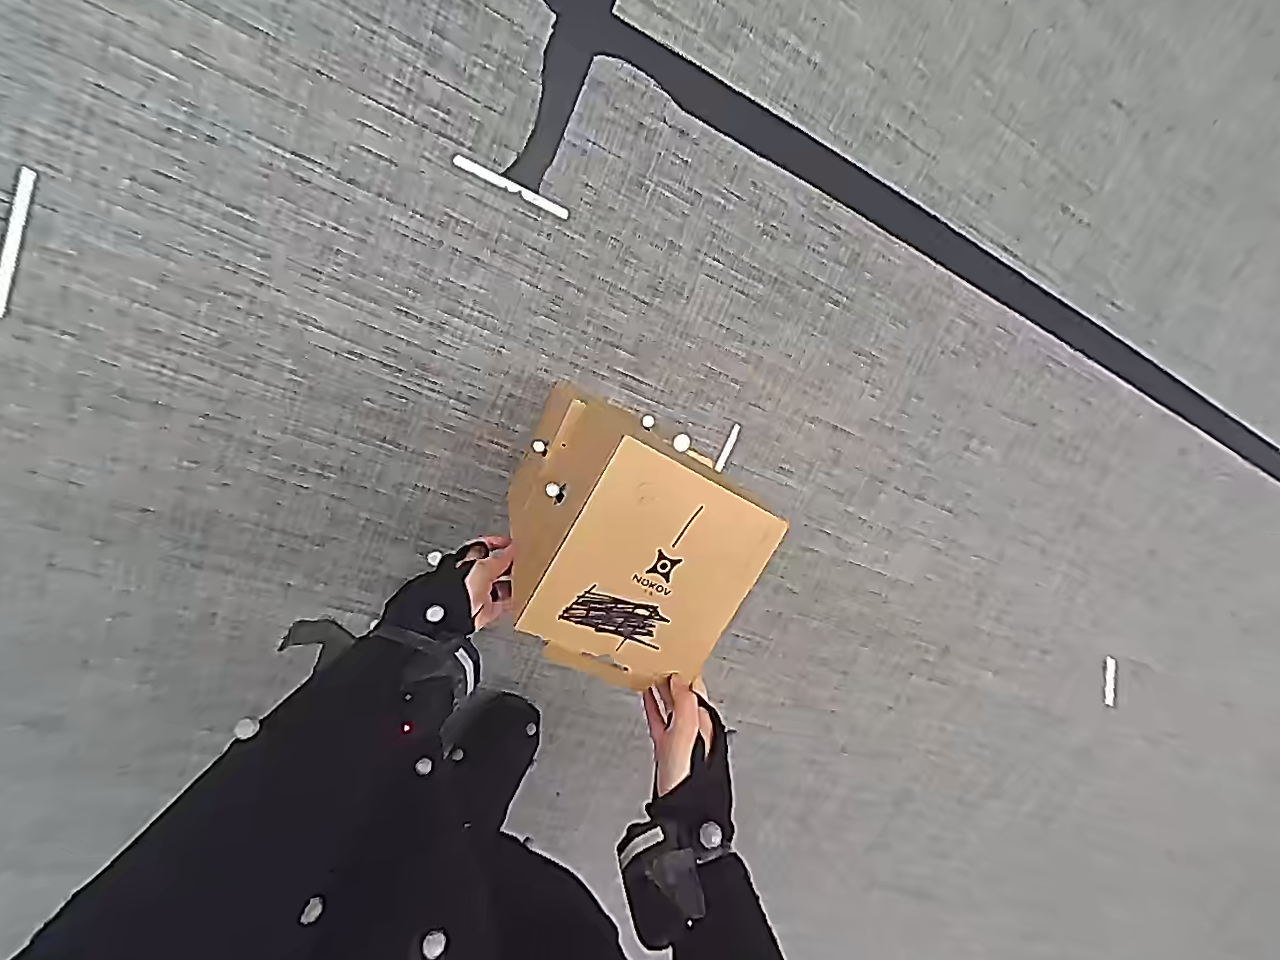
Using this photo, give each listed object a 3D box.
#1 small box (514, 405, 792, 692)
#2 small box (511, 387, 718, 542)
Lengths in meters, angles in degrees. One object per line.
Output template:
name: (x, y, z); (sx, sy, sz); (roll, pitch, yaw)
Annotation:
small box: (-0.002, 0.051, 0.499); (0.168, 0.176, 0.179); (28, 97, -20)
small box: (-0.042, -0.001, 0.651); (0.179, 0.176, 0.168); (23, 99, -20)
